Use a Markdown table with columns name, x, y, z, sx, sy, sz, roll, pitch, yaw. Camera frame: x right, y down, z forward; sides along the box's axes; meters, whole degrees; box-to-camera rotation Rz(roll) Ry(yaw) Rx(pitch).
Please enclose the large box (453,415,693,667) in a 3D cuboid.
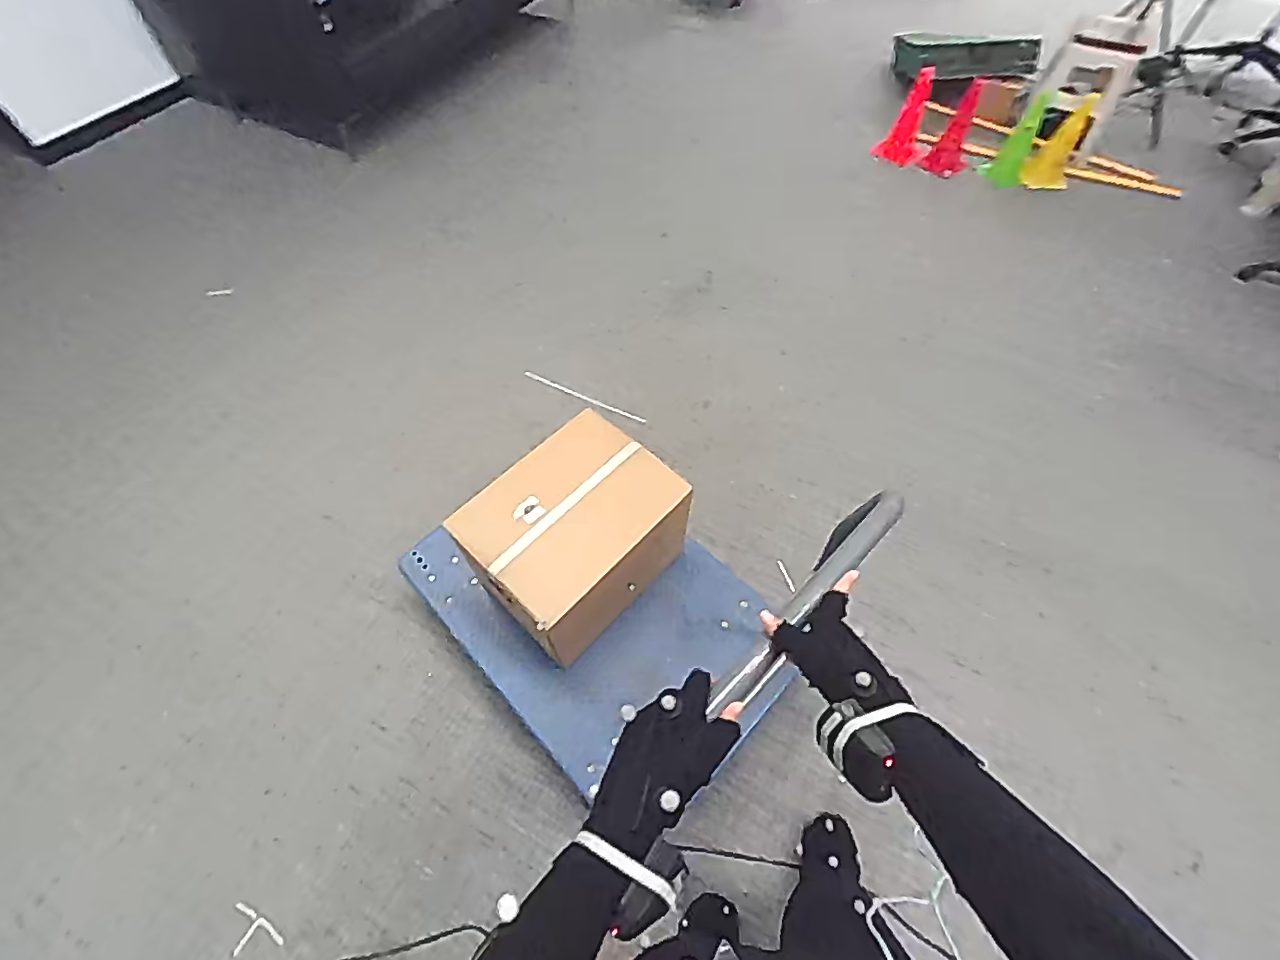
| name | x | y | z | sx | sy | sz | roll | pitch | yaw |
| --- | --- | --- | --- | --- | --- | --- | --- | --- | --- |
| large box | -0.129 | 0.140 | 1.217 | 0.320 | 0.320 | 0.408 | 37 | 66 | 21 |
